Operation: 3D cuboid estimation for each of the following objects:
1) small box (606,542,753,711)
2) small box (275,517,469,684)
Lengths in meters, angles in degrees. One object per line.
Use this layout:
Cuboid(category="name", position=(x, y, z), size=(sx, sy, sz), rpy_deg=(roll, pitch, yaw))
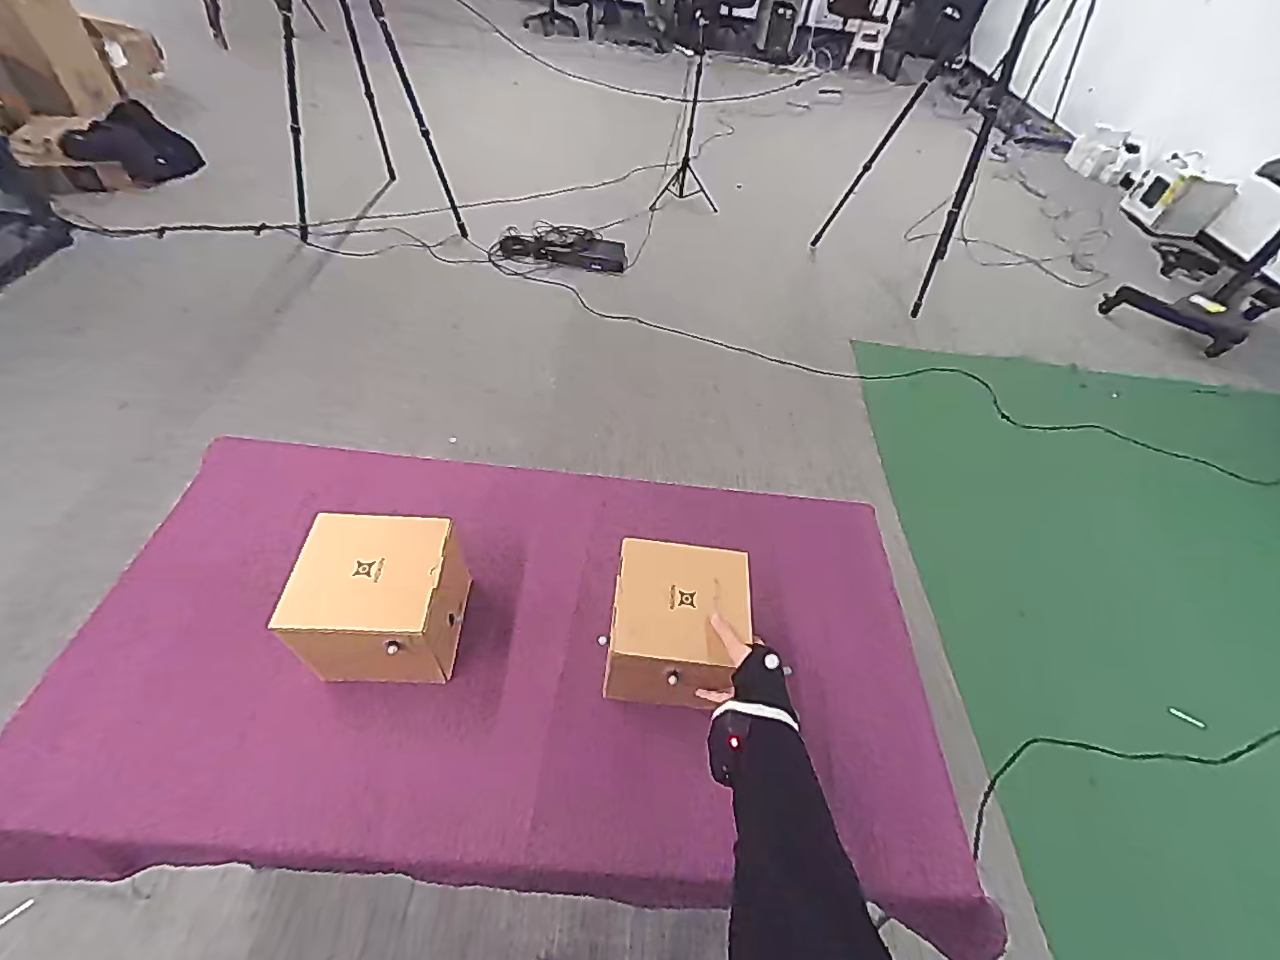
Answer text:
Cuboid(category="small box", position=(0.049, 0.208, 0.754), size=(0.179, 0.176, 0.168), rpy_deg=(8, 50, -2))
Cuboid(category="small box", position=(-0.345, 0.168, 0.739), size=(0.179, 0.176, 0.168), rpy_deg=(3, 49, -6))
